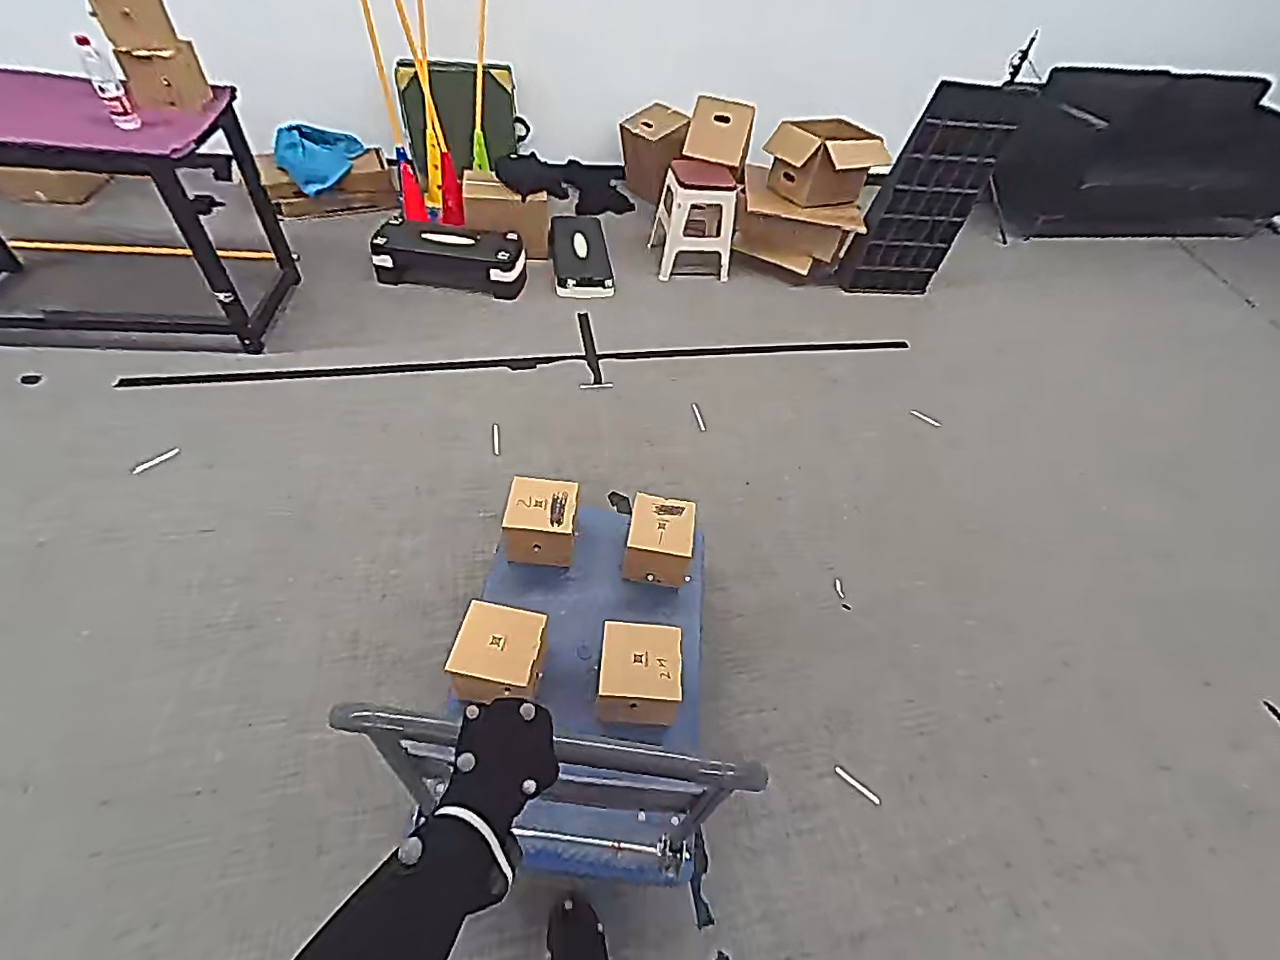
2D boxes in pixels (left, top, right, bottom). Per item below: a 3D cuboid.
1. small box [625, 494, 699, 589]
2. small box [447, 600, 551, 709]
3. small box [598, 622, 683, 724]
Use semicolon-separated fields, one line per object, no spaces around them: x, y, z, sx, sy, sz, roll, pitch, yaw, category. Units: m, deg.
0.056;0.167;1.460;0.168;0.176;0.179;11;50;0;small box
-0.308;0.395;1.215;0.179;0.176;0.168;12;49;0;small box
-0.001;0.439;1.221;0.179;0.176;0.168;6;49;-3;small box
